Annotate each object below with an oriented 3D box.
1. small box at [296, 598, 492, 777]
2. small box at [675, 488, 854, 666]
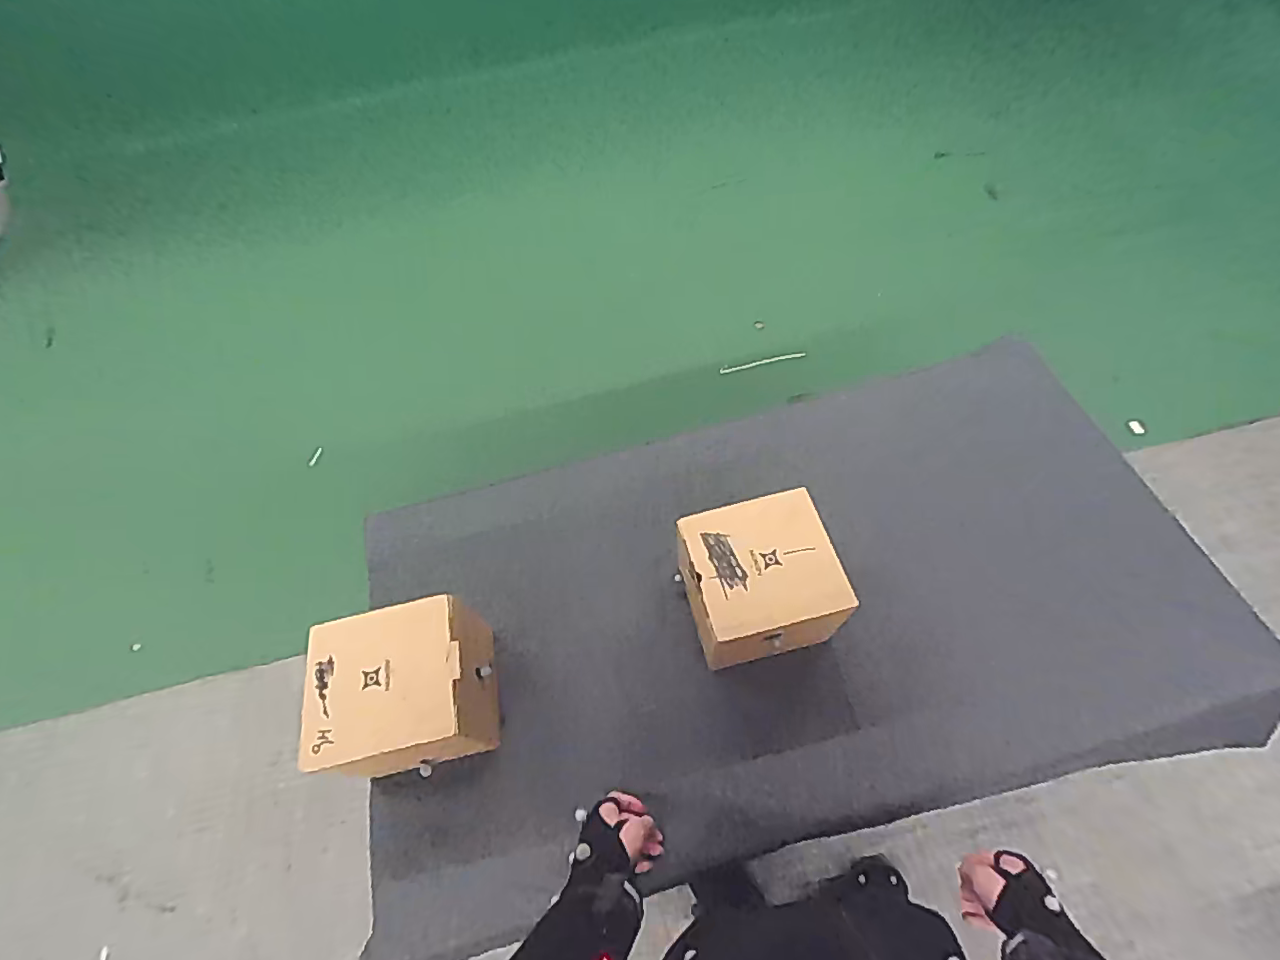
[{"bbox_3d":[-0.295,0.269,0.690,0.179,0.176,0.168,-12,60,-3],"label":"small box"},{"bbox_3d":[0.152,0.137,0.724,0.179,0.176,0.168,-13,61,-4],"label":"small box"}]
